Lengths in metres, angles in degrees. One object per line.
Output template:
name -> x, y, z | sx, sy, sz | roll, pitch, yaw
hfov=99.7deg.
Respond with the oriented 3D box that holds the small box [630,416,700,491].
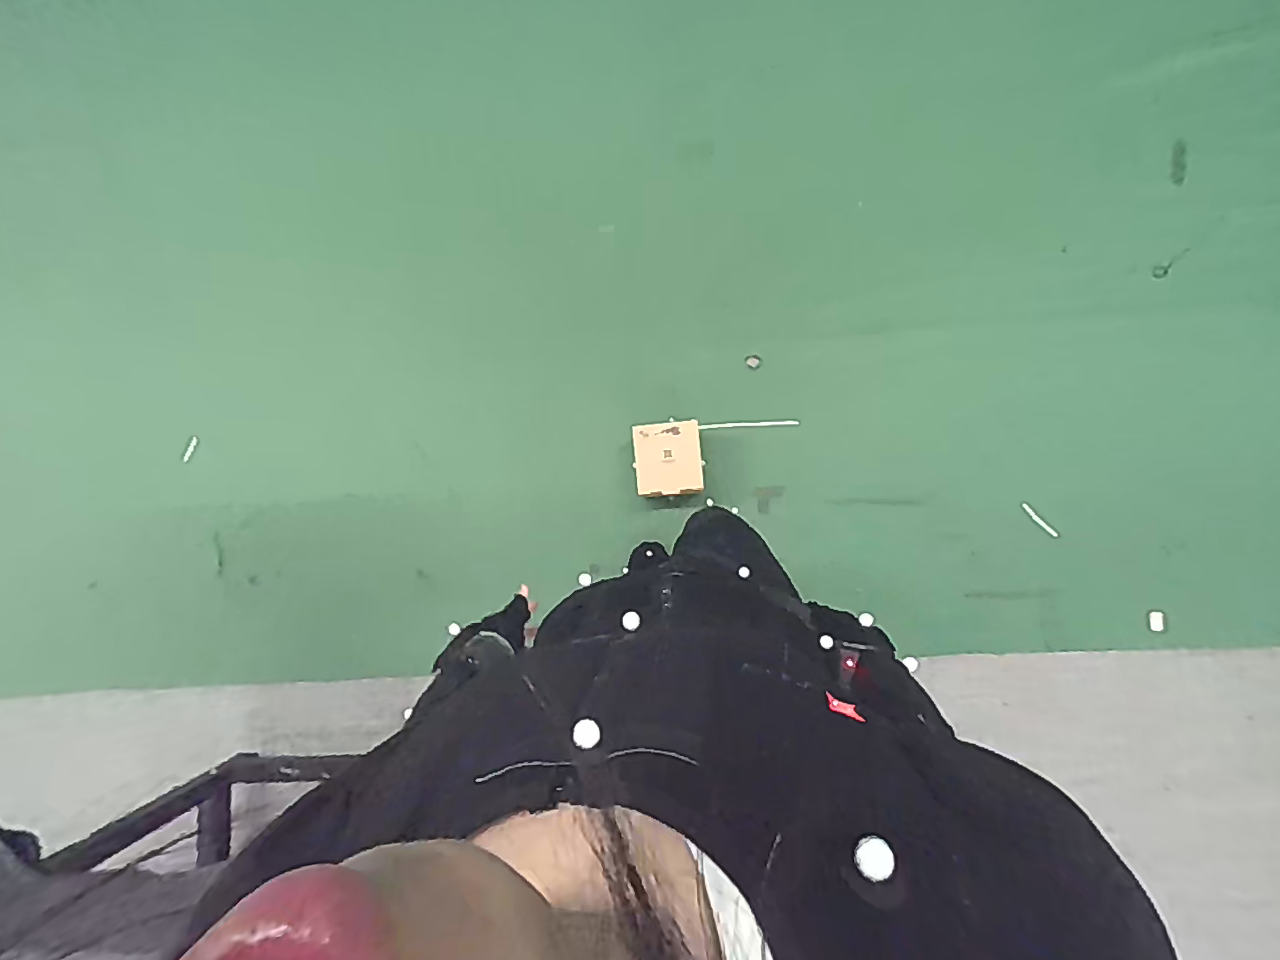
small box -> 0.069, -0.065, 1.417 | 0.168, 0.176, 0.179 | -5, 88, 4
